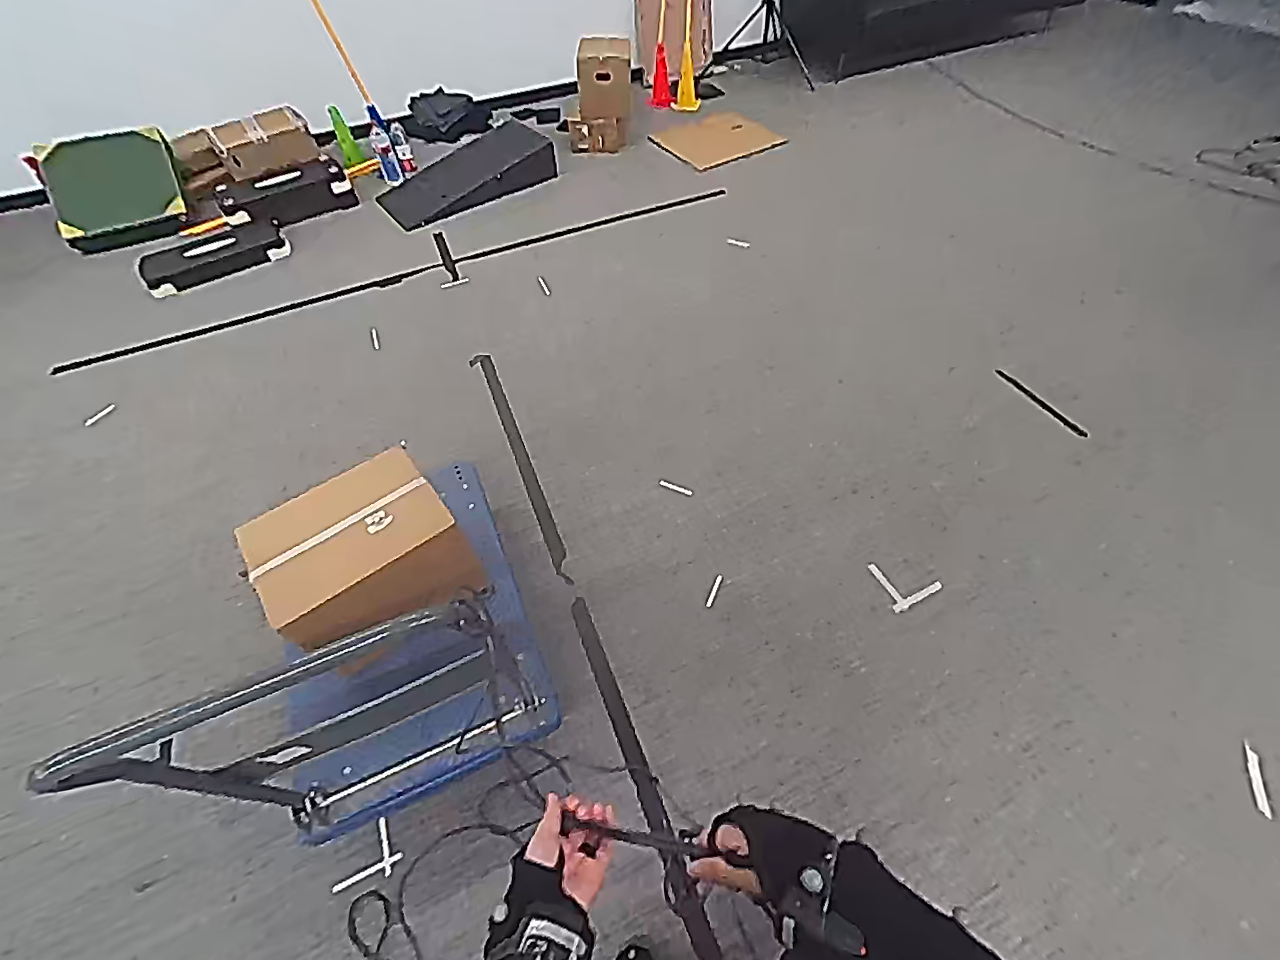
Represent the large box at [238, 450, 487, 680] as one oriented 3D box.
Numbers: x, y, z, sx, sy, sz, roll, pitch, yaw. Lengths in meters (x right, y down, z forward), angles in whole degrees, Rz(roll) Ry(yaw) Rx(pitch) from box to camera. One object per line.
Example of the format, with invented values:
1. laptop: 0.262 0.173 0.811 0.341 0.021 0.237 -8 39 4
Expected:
1. large box: -0.658 0.205 1.332 0.408 0.320 0.320 -33 58 -22
